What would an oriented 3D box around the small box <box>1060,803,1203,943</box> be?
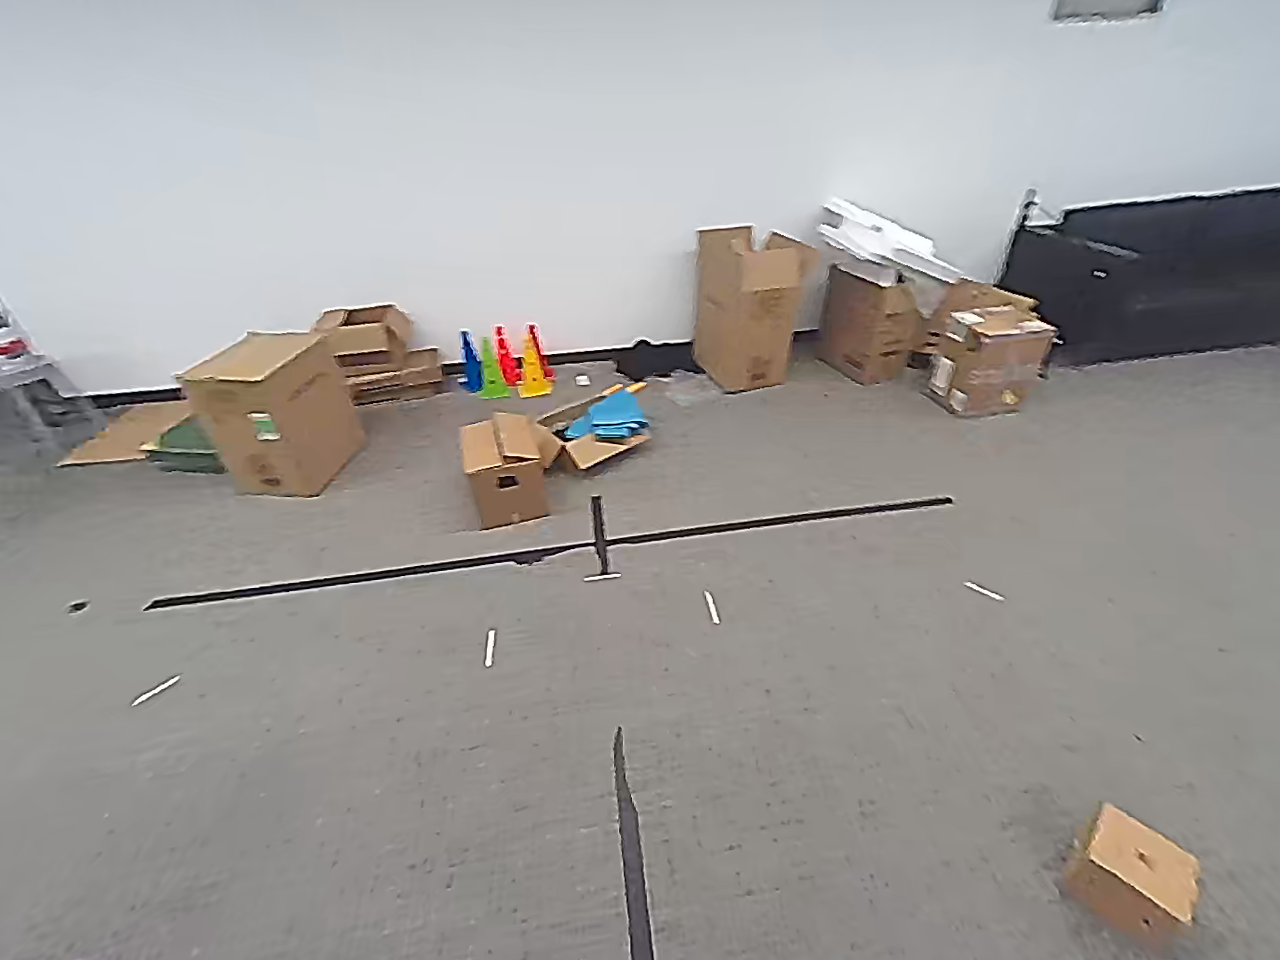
[{"bbox_3d":[1.098,0.888,1.216,0.168,0.176,0.179,-30,43,-35],"label":"small box"}]
